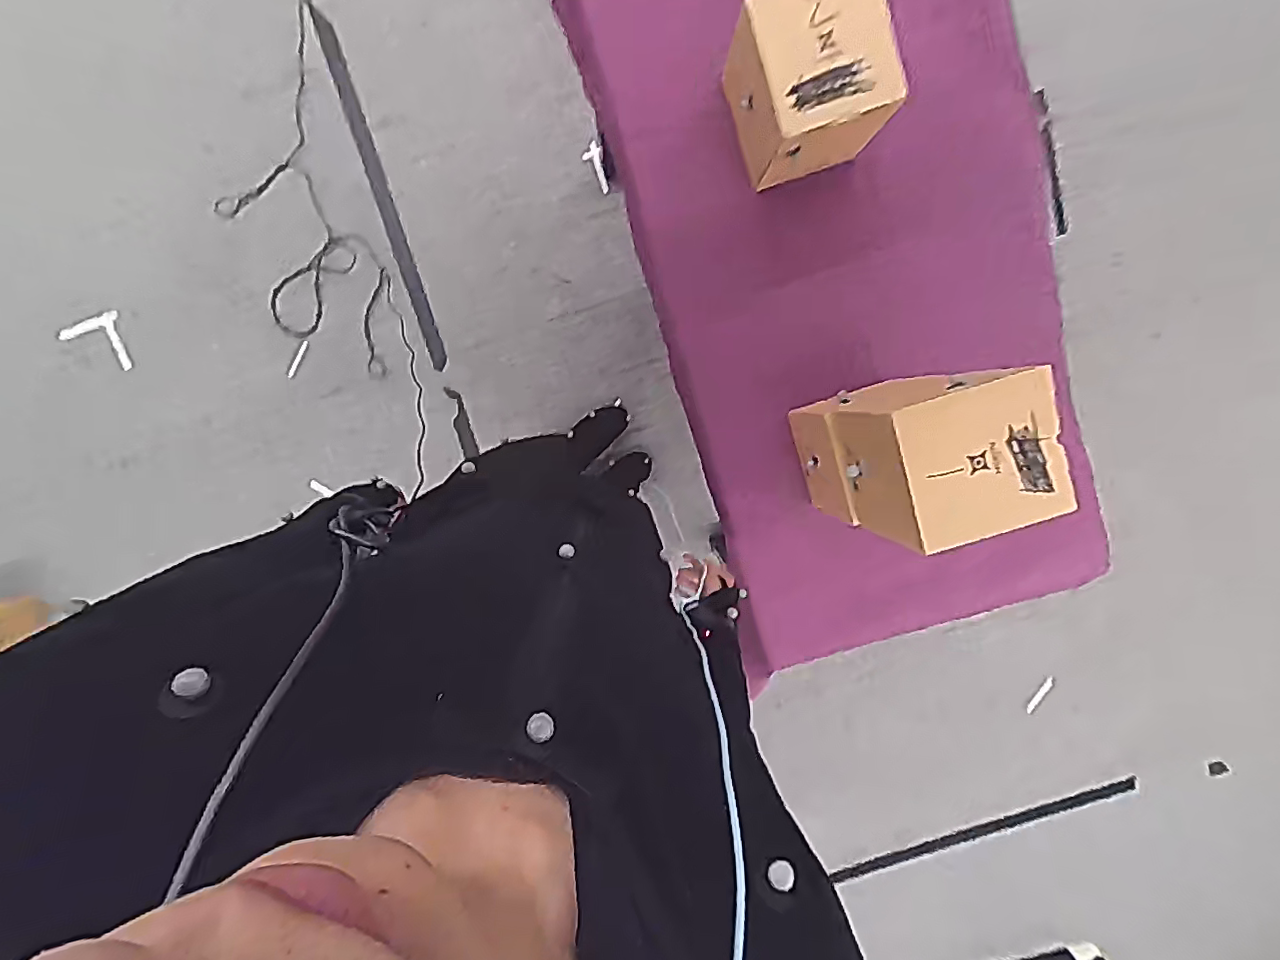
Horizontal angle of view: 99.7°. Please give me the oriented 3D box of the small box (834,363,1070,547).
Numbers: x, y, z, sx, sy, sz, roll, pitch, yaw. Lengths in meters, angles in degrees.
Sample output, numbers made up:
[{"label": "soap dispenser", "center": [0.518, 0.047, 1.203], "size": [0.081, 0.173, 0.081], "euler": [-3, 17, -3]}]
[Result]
[{"label": "small box", "center": [0.367, -0.038, 0.663], "size": [0.179, 0.176, 0.168], "euler": [-17, 98, 1]}]

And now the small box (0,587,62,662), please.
[{"label": "small box", "center": [-1.871, 0.423, 1.575], "size": [0.168, 0.176, 0.179], "euler": [-10, 100, -1]}]

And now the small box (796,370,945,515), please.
[{"label": "small box", "center": [0.352, -0.060, 0.826], "size": [0.179, 0.176, 0.168], "euler": [-17, 99, 1]}]
